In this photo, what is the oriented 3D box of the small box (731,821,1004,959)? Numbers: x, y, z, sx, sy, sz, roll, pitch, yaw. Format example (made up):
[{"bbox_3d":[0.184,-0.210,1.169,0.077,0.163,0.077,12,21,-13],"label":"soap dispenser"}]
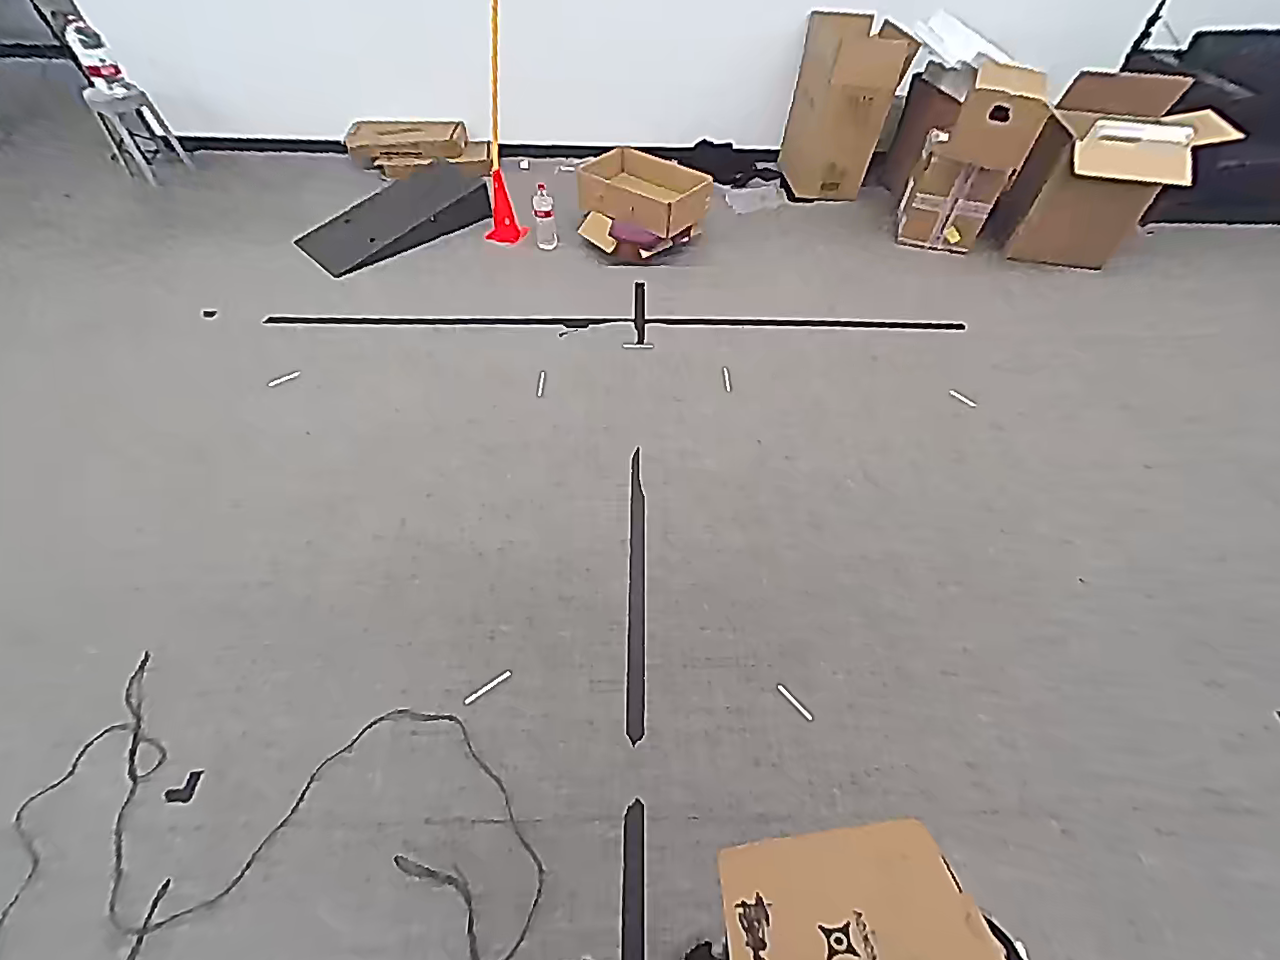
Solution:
[{"bbox_3d":[0.176,0.404,0.410,0.179,0.176,0.168,-12,16,6],"label":"small box"}]
